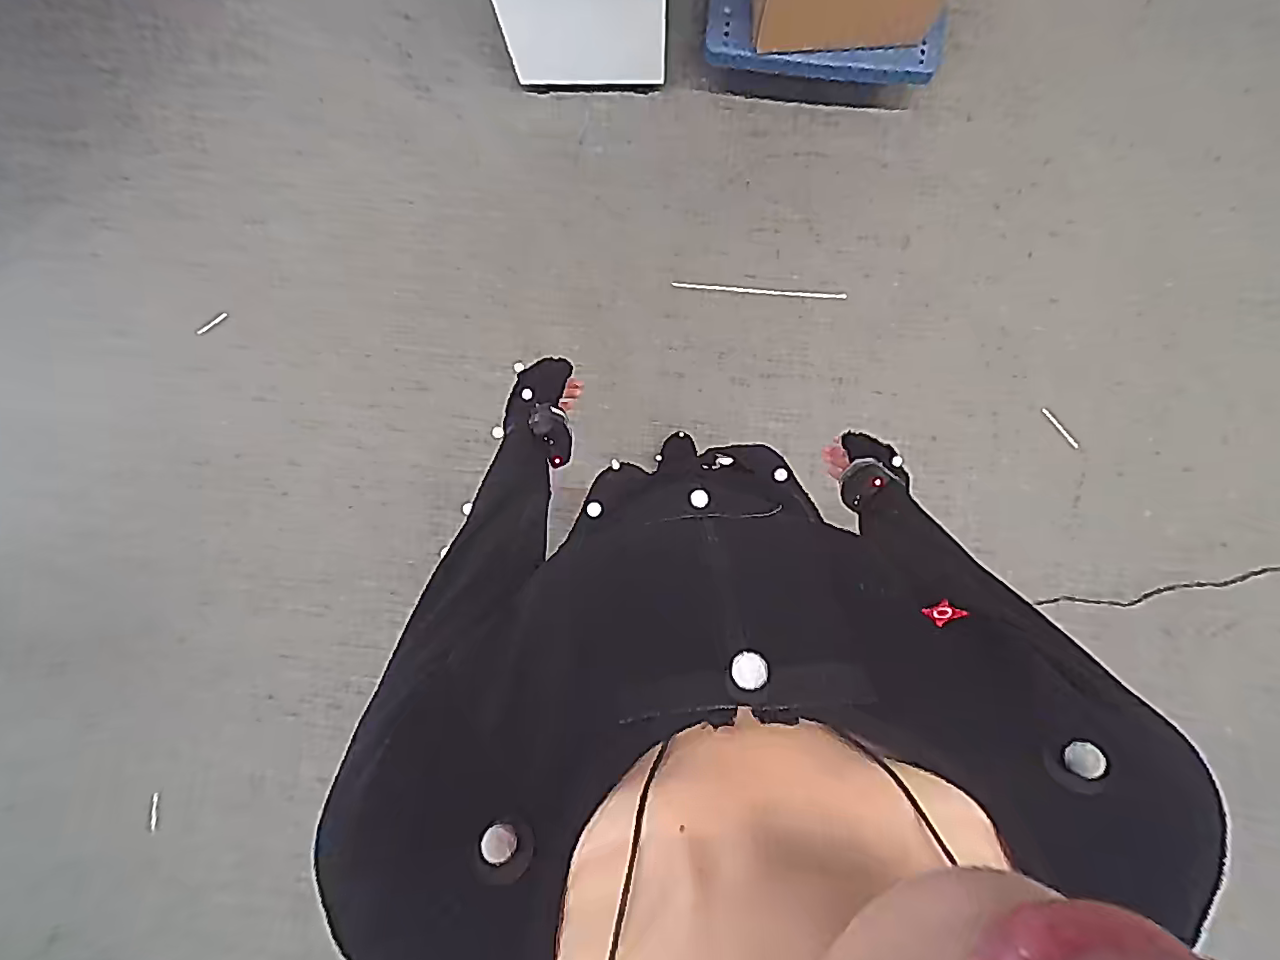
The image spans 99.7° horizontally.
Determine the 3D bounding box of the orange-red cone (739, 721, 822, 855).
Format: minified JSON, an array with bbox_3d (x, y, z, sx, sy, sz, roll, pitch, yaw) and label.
[{"bbox_3d":[0.376,0.776,1.321,0.198,0.360,0.199,-13,91,3],"label":"orange-red cone"}]
